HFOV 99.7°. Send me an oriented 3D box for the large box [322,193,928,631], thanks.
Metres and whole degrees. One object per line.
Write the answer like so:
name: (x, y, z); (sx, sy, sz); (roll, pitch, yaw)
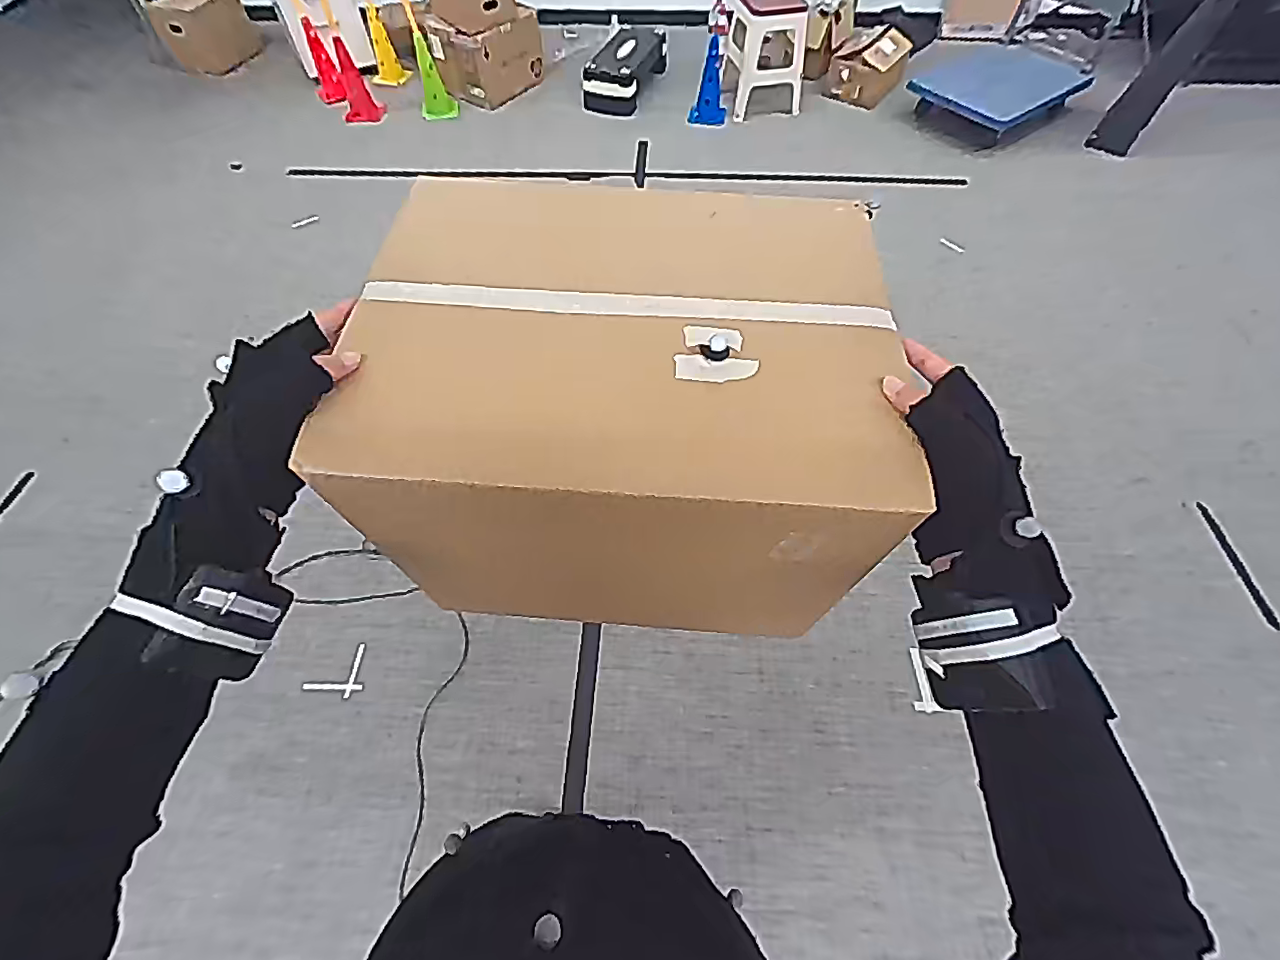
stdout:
large box: (-0.007, -0.047, 0.550); (0.408, 0.320, 0.320); (4, 61, 1)
